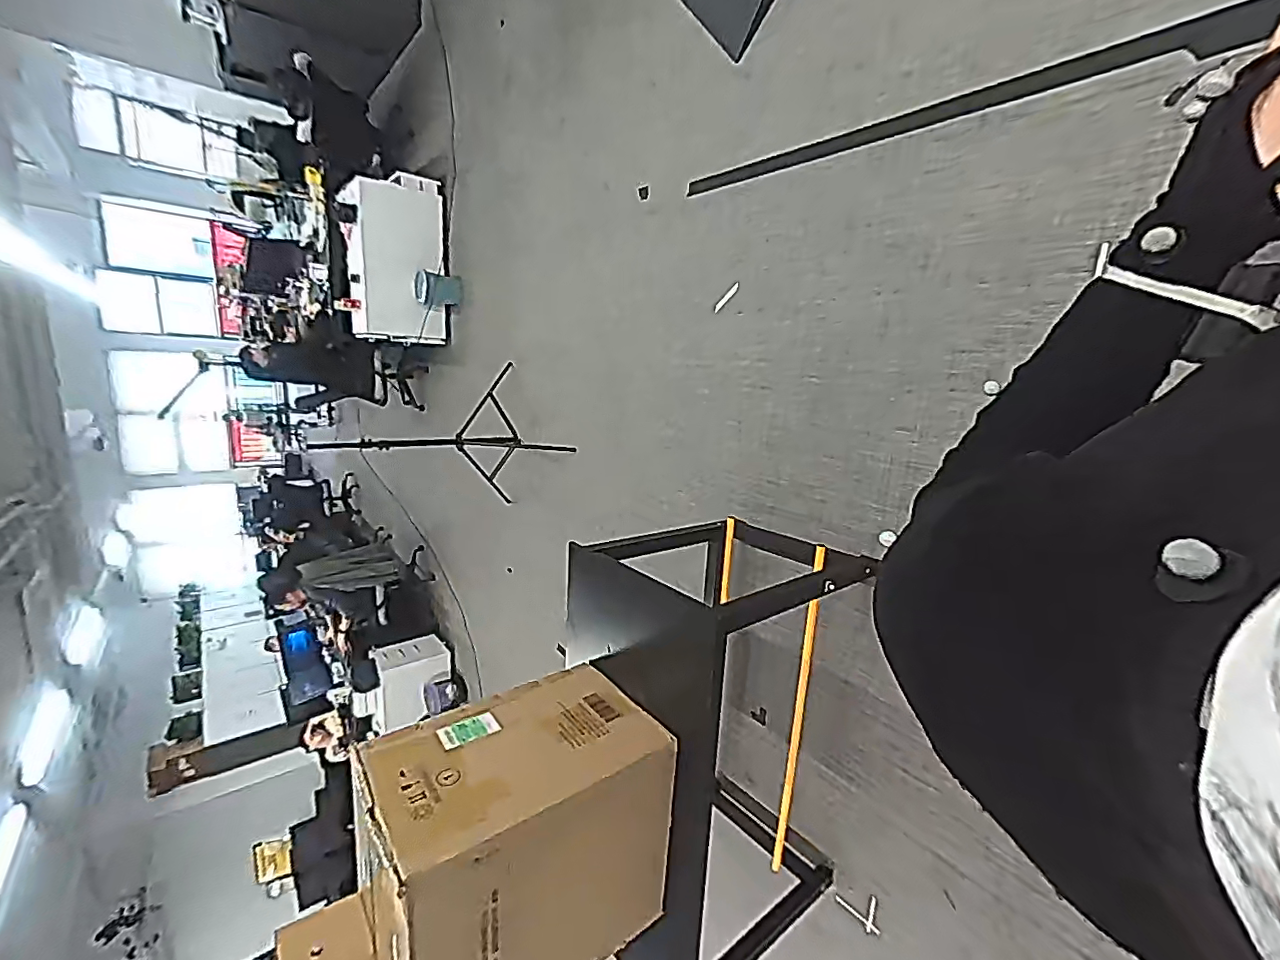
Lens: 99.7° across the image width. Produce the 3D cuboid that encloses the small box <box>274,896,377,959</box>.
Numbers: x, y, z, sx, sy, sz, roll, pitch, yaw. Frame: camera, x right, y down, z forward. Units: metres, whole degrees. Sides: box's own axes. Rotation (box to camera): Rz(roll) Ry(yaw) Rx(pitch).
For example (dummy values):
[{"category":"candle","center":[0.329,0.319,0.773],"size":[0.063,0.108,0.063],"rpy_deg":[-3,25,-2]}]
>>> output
[{"category":"small box","center":[-0.660,1.043,1.144],"size":[0.179,0.176,0.168],"rpy_deg":[12,104,52]}]
